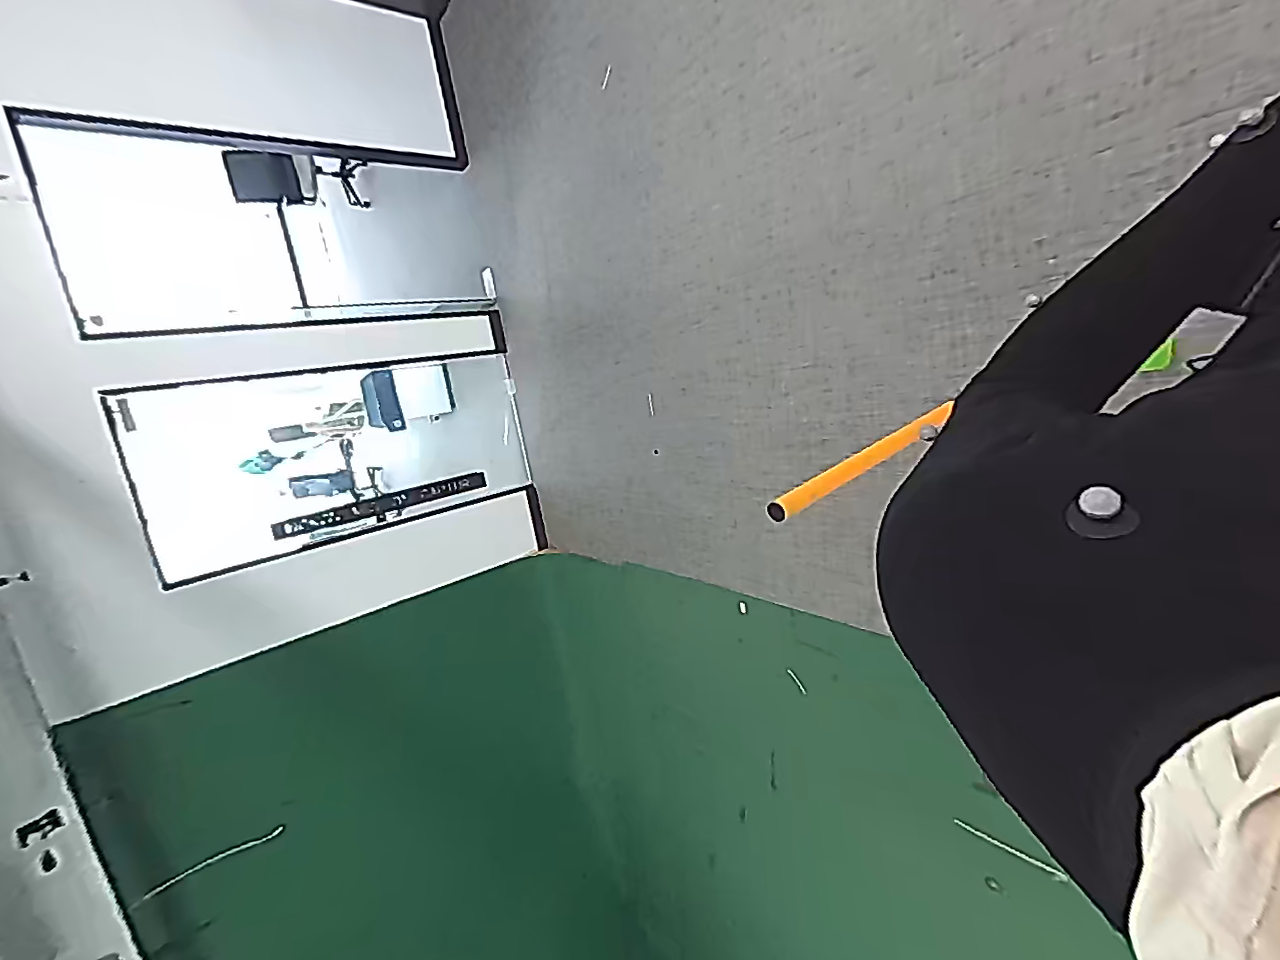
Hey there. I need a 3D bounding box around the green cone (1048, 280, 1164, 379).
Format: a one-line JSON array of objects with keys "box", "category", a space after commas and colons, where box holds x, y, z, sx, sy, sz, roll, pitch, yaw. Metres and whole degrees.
[{"box": [0.927, -0.295, 1.129, 0.202, 0.368, 0.200, 5, 108, 50], "category": "green cone"}]
